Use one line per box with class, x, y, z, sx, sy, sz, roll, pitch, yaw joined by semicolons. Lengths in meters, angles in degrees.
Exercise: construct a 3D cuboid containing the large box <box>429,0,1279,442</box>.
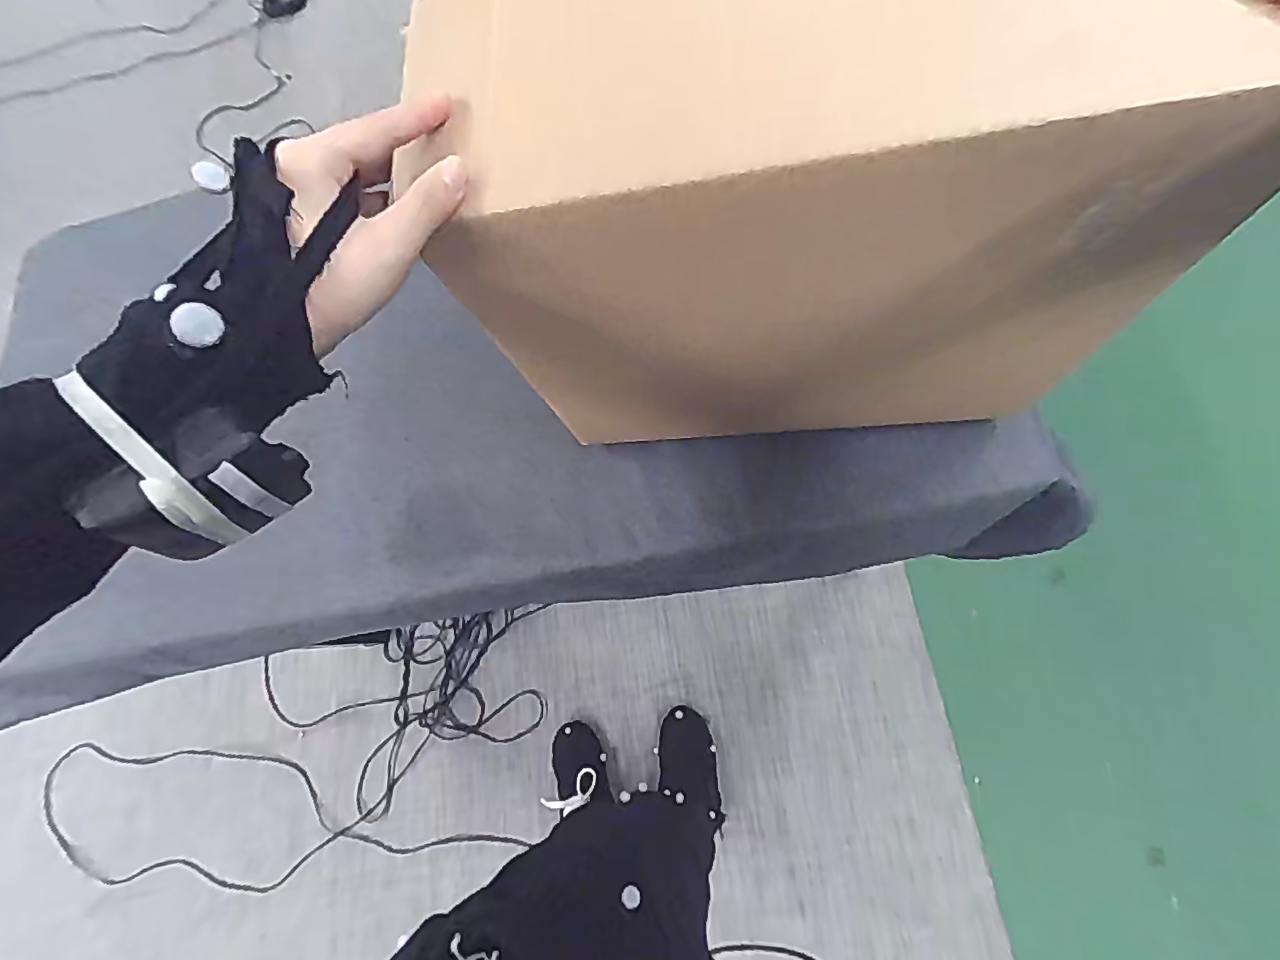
large box;0.112;-0.236;0.419;0.408;0.320;0.320;-3;73;9
